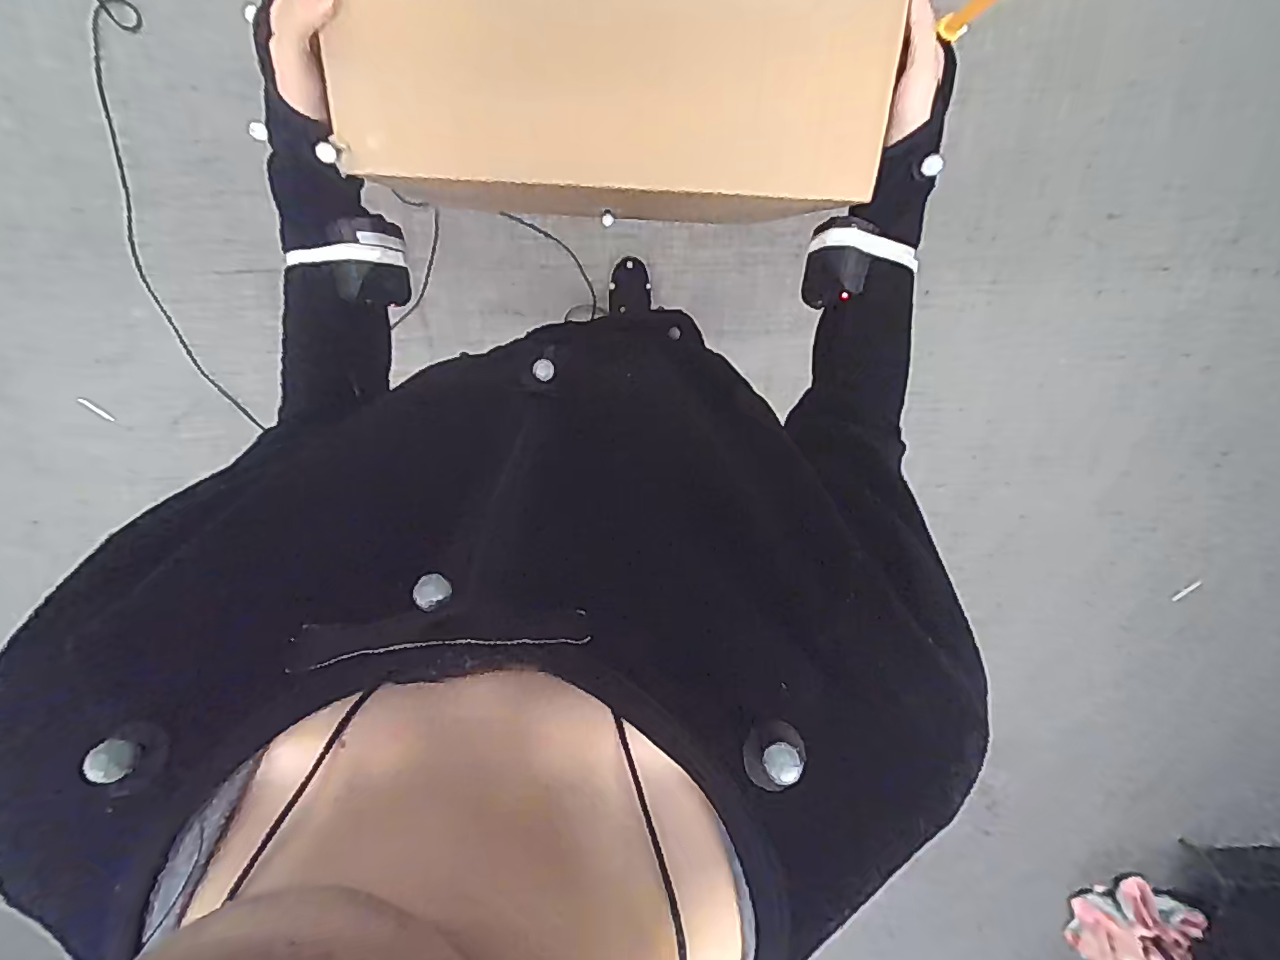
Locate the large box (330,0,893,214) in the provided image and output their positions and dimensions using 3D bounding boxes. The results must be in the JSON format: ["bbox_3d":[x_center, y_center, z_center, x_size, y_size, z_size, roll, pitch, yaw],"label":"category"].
[{"bbox_3d":[-0.025,-0.427,0.502,0.408,0.320,0.320,-1,112,-7],"label":"large box"}]
